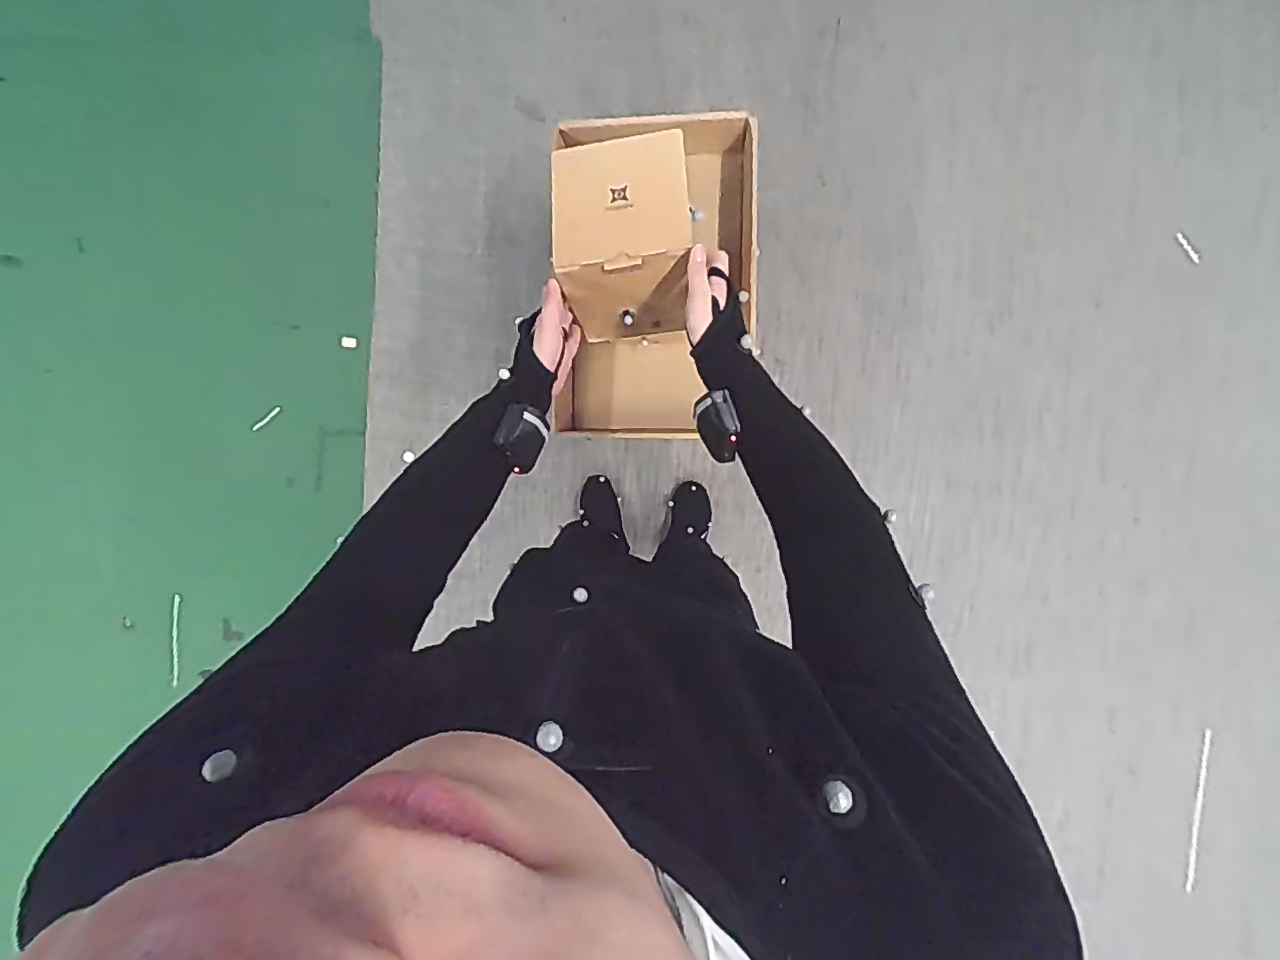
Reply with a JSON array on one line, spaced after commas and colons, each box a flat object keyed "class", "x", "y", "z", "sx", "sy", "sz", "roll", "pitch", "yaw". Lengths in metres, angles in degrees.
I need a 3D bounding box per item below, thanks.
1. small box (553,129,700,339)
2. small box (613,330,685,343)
[{"class": "small box", "x": -0.011, "y": -0.309, "z": 0.708, "sx": 0.168, "sy": 0.176, "sz": 0.179, "roll": -6, "pitch": 75, "yaw": 6}, {"class": "small box", "x": 0.009, "y": -0.383, "z": 1.093, "sx": 0.168, "sy": 0.176, "sz": 0.179, "roll": 1, "pitch": 93, "yaw": 6}]
